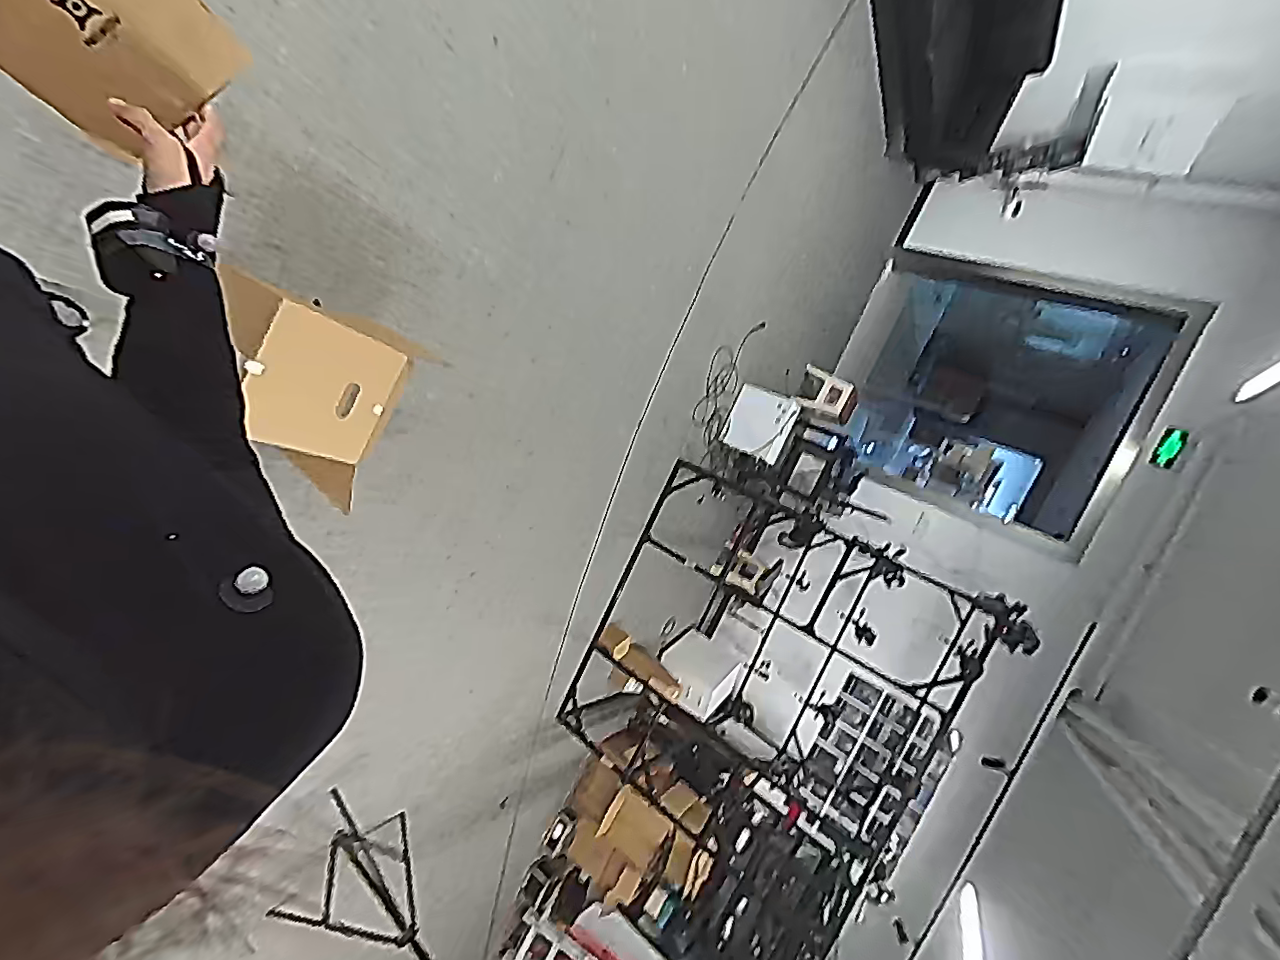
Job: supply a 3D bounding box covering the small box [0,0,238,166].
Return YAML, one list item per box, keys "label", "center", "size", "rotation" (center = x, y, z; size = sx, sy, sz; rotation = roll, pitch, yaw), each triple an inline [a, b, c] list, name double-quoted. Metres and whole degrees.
- label: "small box"
  center: [-0.527, -0.442, 0.486]
  size: [0.168, 0.176, 0.179]
  rotation: [-42, 158, -1]
